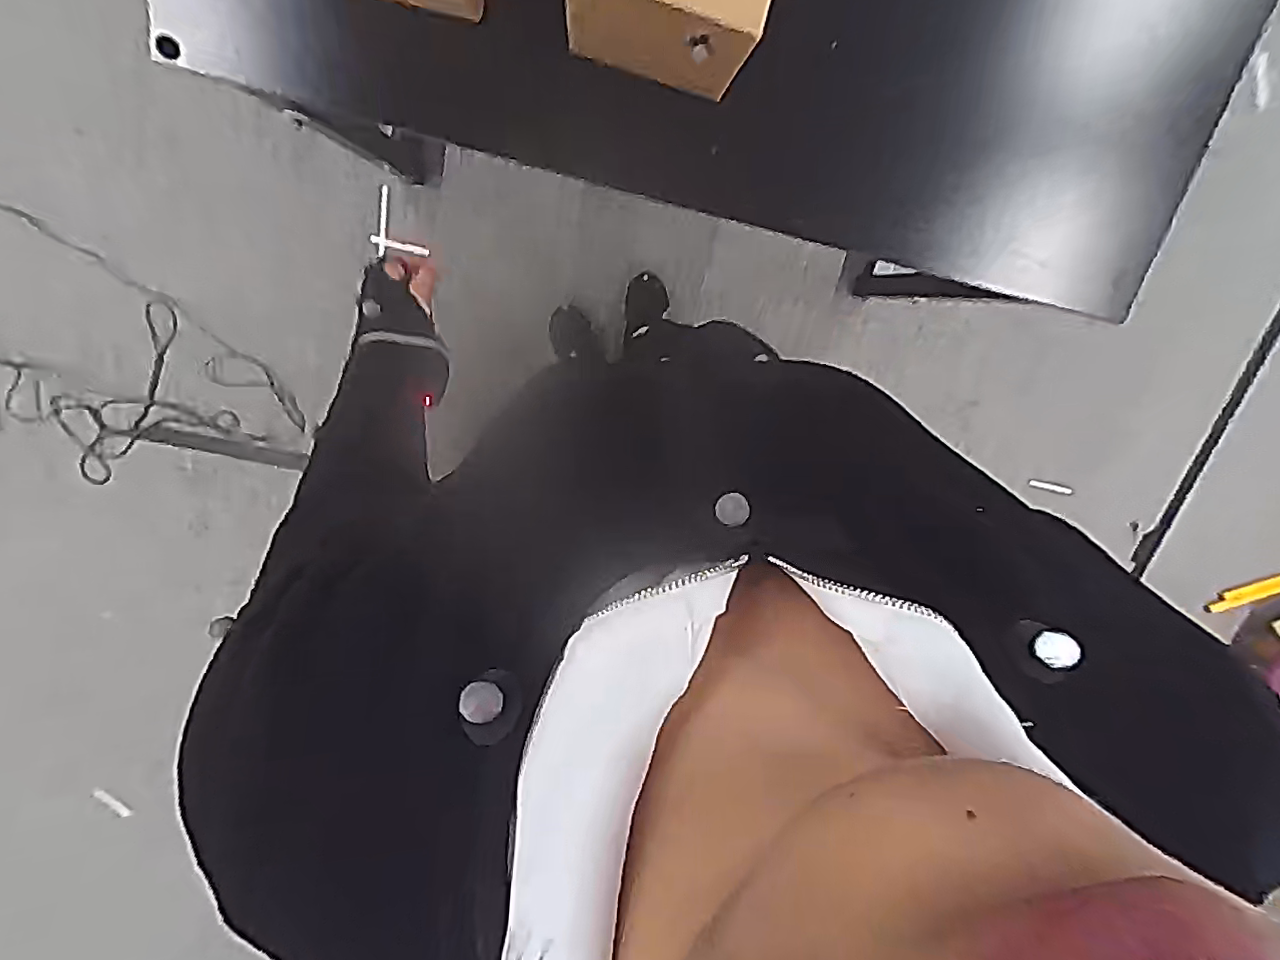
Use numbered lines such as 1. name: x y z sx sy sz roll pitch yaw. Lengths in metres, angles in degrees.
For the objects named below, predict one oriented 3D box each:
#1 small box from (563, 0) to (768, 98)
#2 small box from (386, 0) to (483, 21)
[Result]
1. small box: 0.031 -0.496 0.509 0.179 0.176 0.168 12 107 -9
2. small box: -0.234 -0.547 0.468 0.179 0.176 0.168 9 108 -8
